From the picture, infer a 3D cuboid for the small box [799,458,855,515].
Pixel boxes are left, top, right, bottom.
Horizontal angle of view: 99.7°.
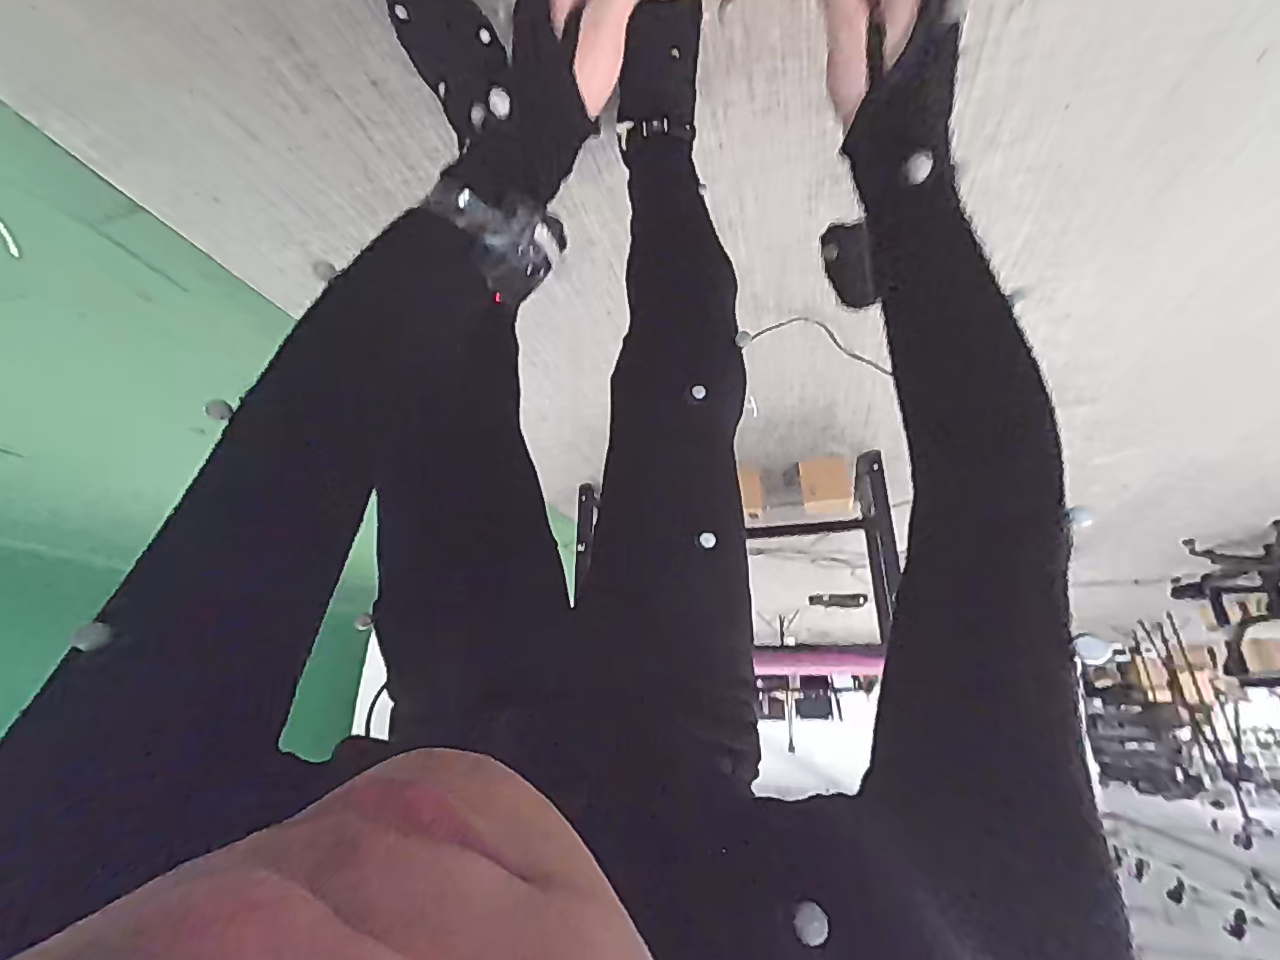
[{"bbox_3d":[0.698,0.023,2.028,0.179,0.176,0.168,-6,157,17],"label":"small box"}]
